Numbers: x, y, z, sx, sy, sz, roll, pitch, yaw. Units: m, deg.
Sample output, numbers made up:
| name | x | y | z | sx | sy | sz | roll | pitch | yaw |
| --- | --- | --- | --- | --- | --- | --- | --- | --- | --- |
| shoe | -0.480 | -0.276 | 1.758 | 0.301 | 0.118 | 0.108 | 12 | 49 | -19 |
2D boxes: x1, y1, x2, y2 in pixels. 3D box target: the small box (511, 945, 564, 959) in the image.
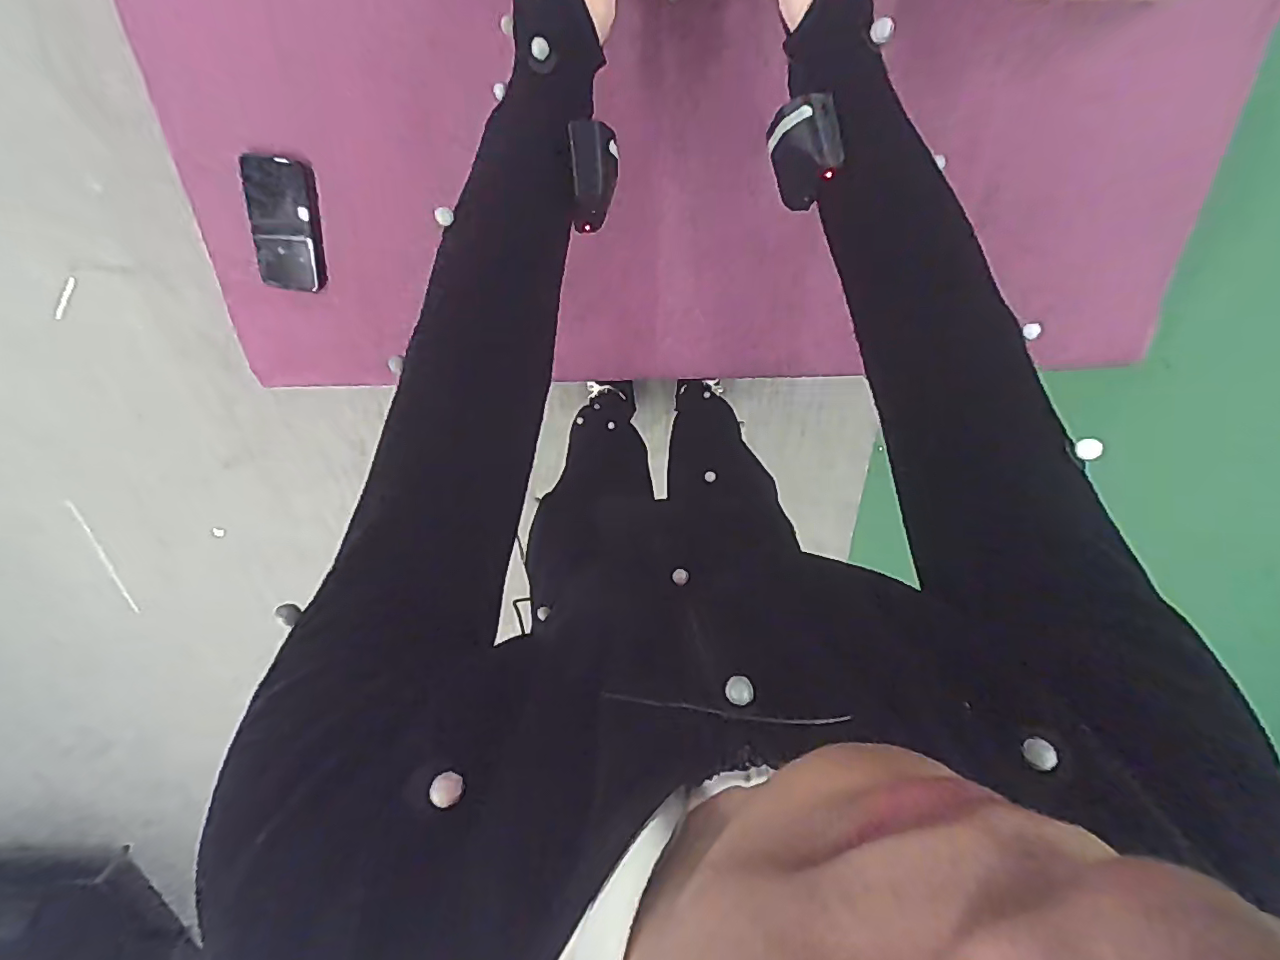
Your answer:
| name | x | y | z | sx | sy | sz | roll | pitch | yaw |
| --- | --- | --- | --- | --- | --- | --- | --- | --- | --- |
| small box | -0.344 | 1.659 | 1.764 | 0.168 | 0.176 | 0.179 | 2 | 117 | 1 |

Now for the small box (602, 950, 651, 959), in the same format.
| name | x | y | z | sx | sy | sz | roll | pitch | yaw |
| --- | --- | --- | --- | --- | --- | --- | --- | --- | --- |
| small box | -0.048 | 1.685 | 1.769 | 0.168 | 0.176 | 0.179 | 2 | 117 | 0 |
